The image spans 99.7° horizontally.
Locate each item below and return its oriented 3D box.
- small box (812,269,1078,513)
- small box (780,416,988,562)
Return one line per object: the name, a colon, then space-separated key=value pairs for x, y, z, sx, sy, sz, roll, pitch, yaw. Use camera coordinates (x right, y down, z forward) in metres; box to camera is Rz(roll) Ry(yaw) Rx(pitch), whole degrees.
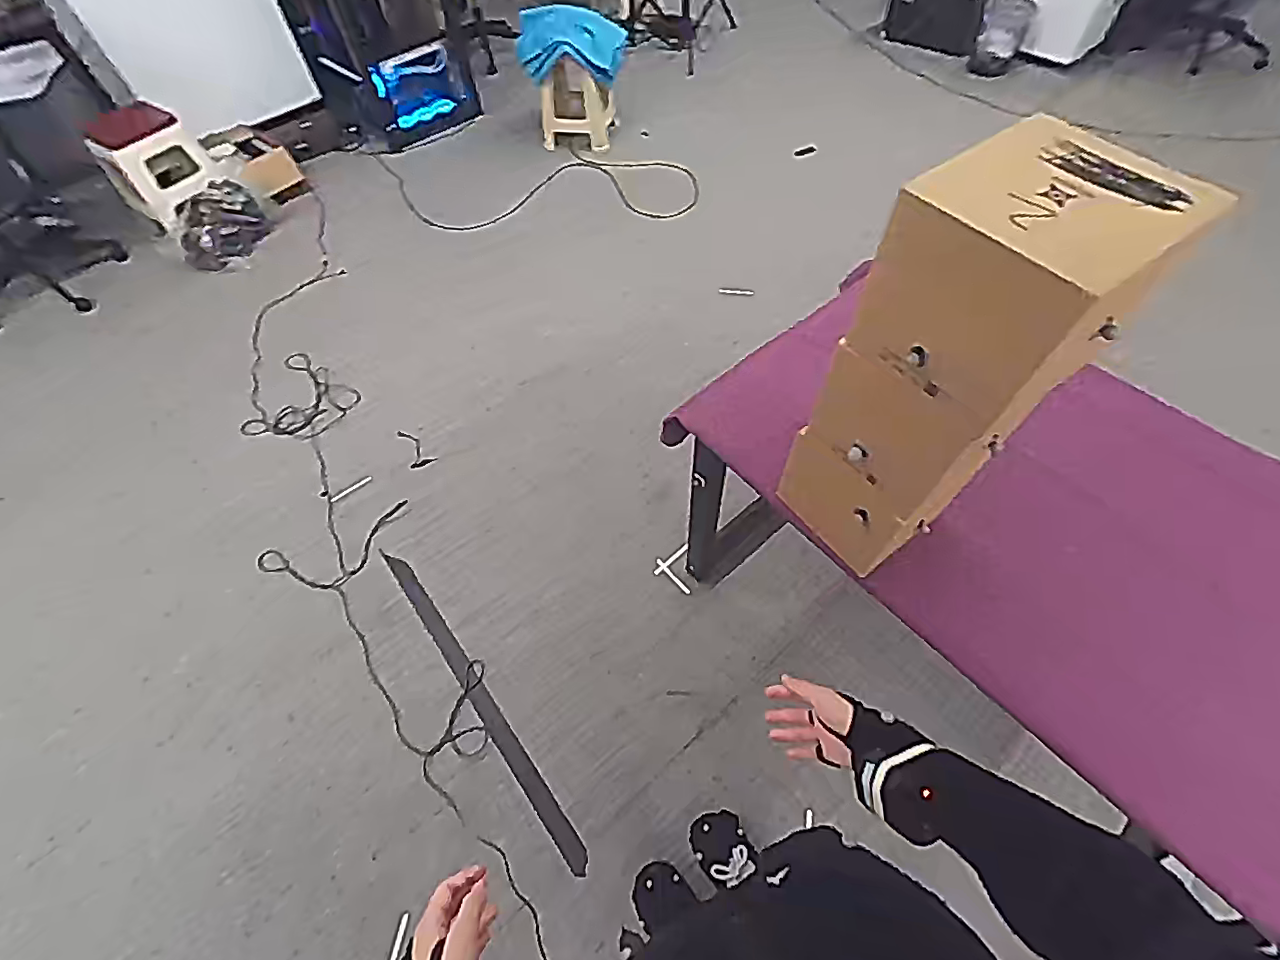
small box: x=0.325 y=-0.096 z=0.617 sx=0.179 sy=0.176 sz=0.168 roll=-34 pitch=62 yaw=-16
small box: x=0.323 y=-0.007 z=0.755 sx=0.168 sy=0.176 sz=0.179 roll=-32 pitch=62 yaw=-16
